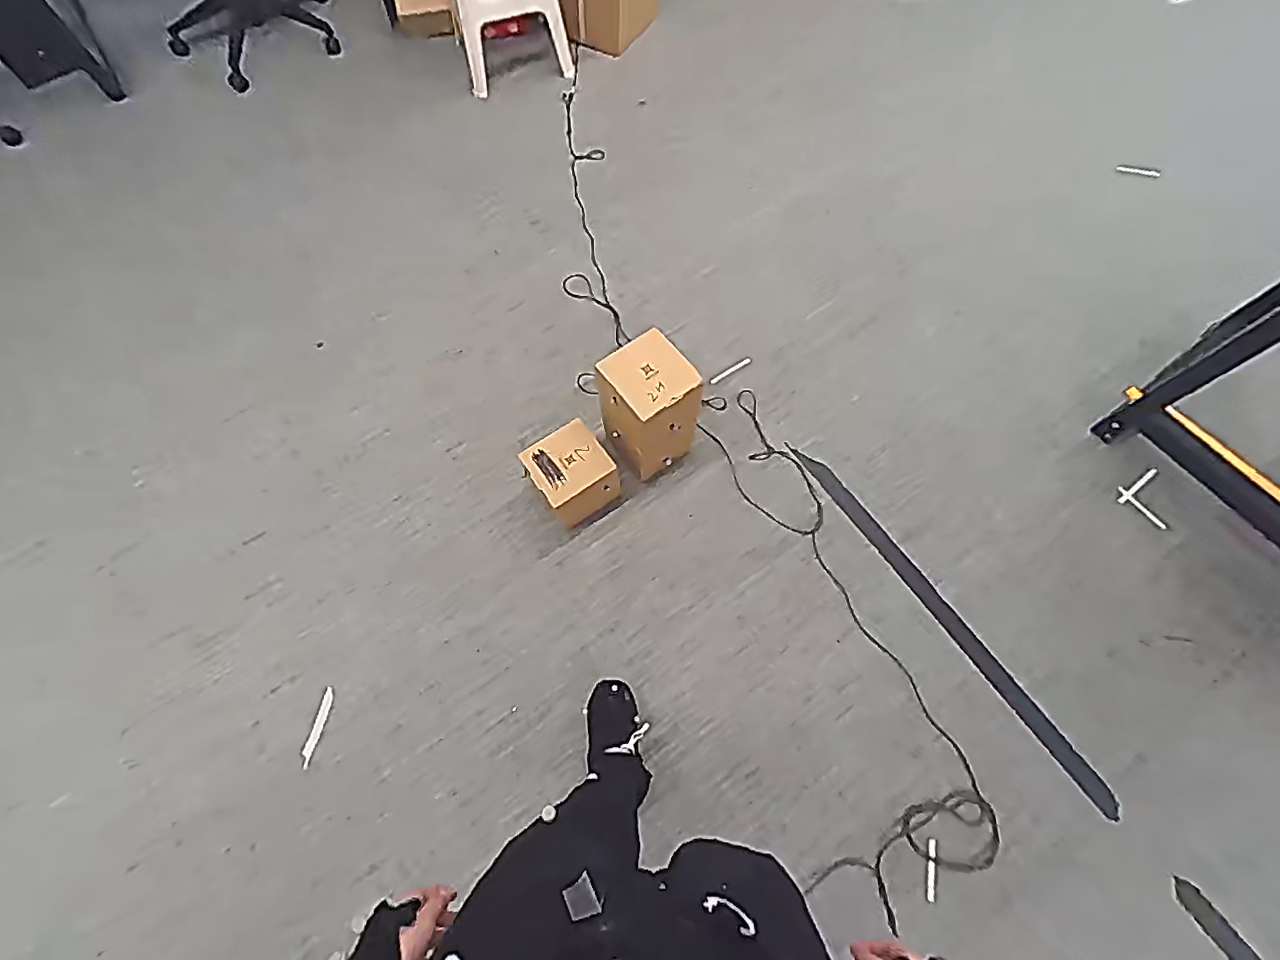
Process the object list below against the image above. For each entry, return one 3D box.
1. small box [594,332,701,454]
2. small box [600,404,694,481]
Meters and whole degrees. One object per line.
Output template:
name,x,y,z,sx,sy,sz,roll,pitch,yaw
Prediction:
small box,0.015,-0.190,1.216,0.168,0.176,0.179,-35,72,-12
small box,0.014,-0.127,1.368,0.168,0.176,0.179,-33,72,-12
